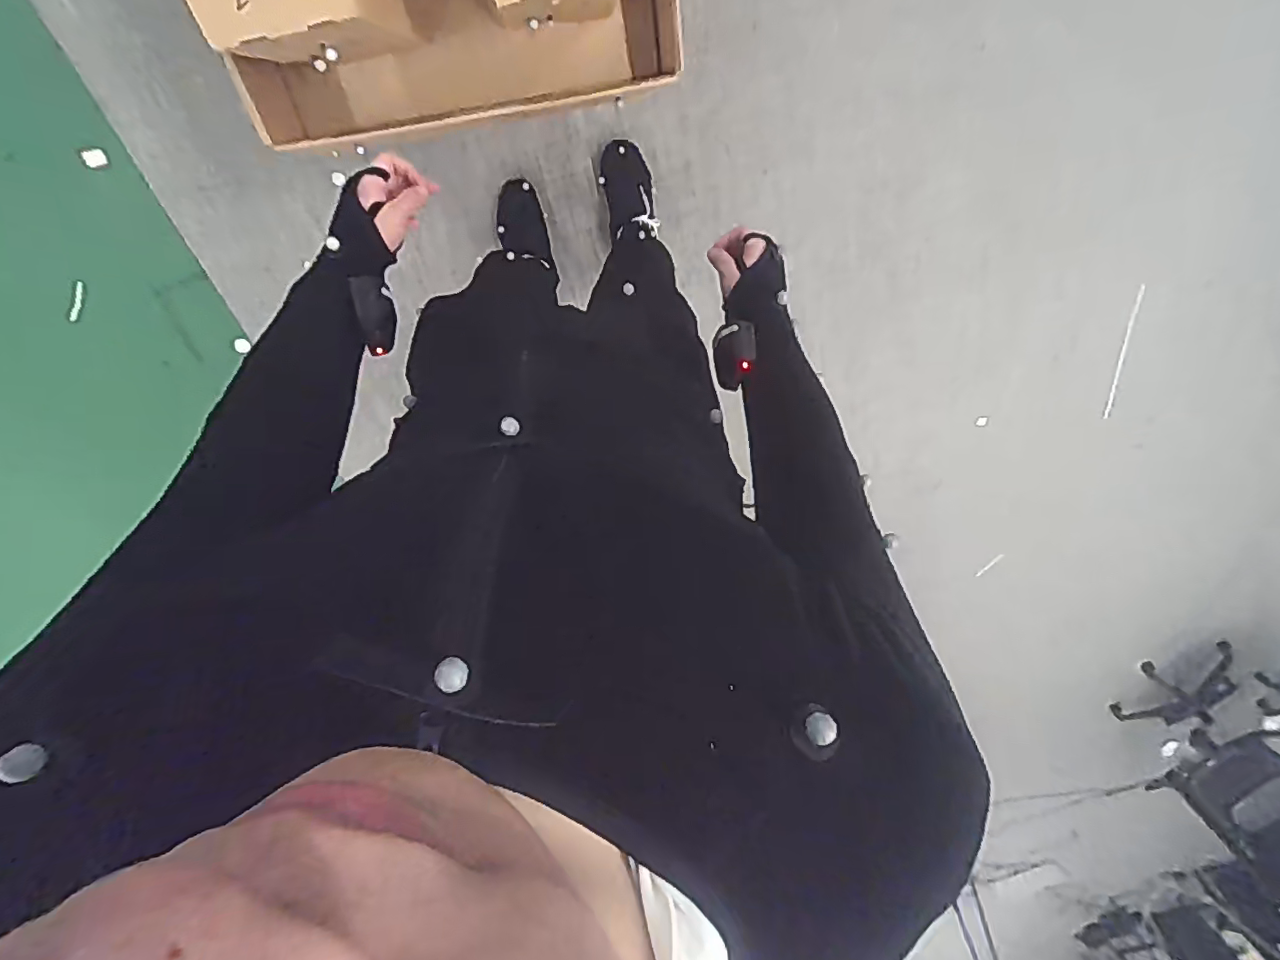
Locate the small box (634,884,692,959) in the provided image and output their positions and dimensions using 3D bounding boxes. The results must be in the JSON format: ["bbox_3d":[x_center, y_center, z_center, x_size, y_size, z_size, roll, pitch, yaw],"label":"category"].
[{"bbox_3d":[0.081,1.580,1.927,0.168,0.176,0.179,-15,124,3],"label":"small box"}]

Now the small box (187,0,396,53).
[{"bbox_3d":[-0.390,-0.585,0.574,0.168,0.176,0.179,-11,125,1],"label":"small box"}]

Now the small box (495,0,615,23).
[{"bbox_3d":[-0.123,-0.731,0.709,0.168,0.176,0.179,-9,126,-2],"label":"small box"}]

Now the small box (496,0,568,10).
[{"bbox_3d":[-0.097,-0.634,0.578,0.168,0.176,0.179,-13,125,1],"label":"small box"}]
